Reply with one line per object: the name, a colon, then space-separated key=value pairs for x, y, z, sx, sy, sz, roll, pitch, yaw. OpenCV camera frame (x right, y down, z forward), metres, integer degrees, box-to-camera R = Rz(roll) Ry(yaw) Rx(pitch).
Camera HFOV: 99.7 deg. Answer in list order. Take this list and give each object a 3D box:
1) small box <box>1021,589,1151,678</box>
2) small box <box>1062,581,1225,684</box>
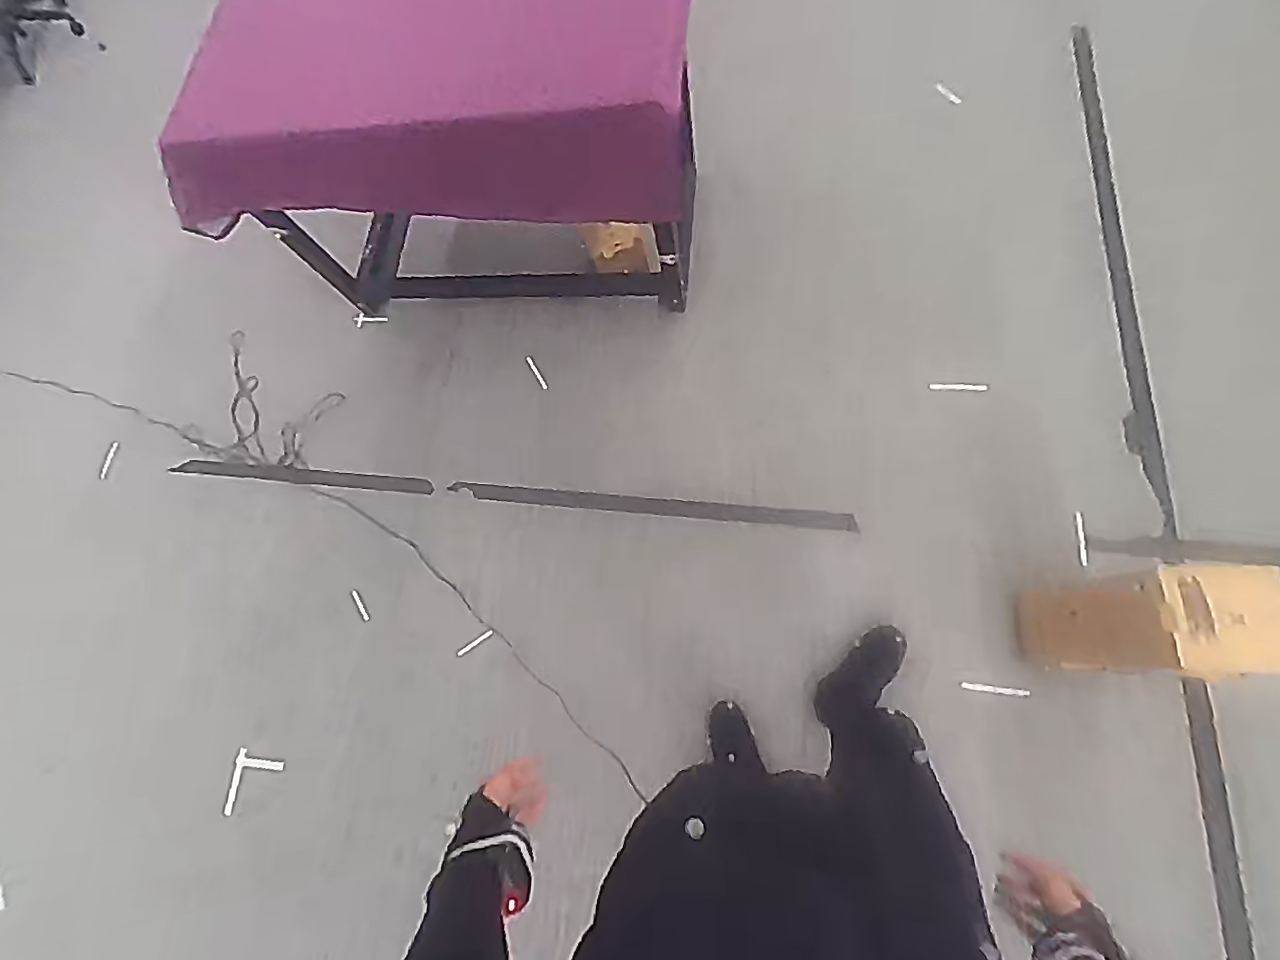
small box: x=1.006 y=0.349 z=1.234 sx=0.168 sy=0.176 sz=0.179 roll=1 pitch=73 yaw=11
small box: x=0.989 y=0.301 z=1.079 sx=0.179 sy=0.176 sz=0.168 roll=5 pitch=75 yaw=13
